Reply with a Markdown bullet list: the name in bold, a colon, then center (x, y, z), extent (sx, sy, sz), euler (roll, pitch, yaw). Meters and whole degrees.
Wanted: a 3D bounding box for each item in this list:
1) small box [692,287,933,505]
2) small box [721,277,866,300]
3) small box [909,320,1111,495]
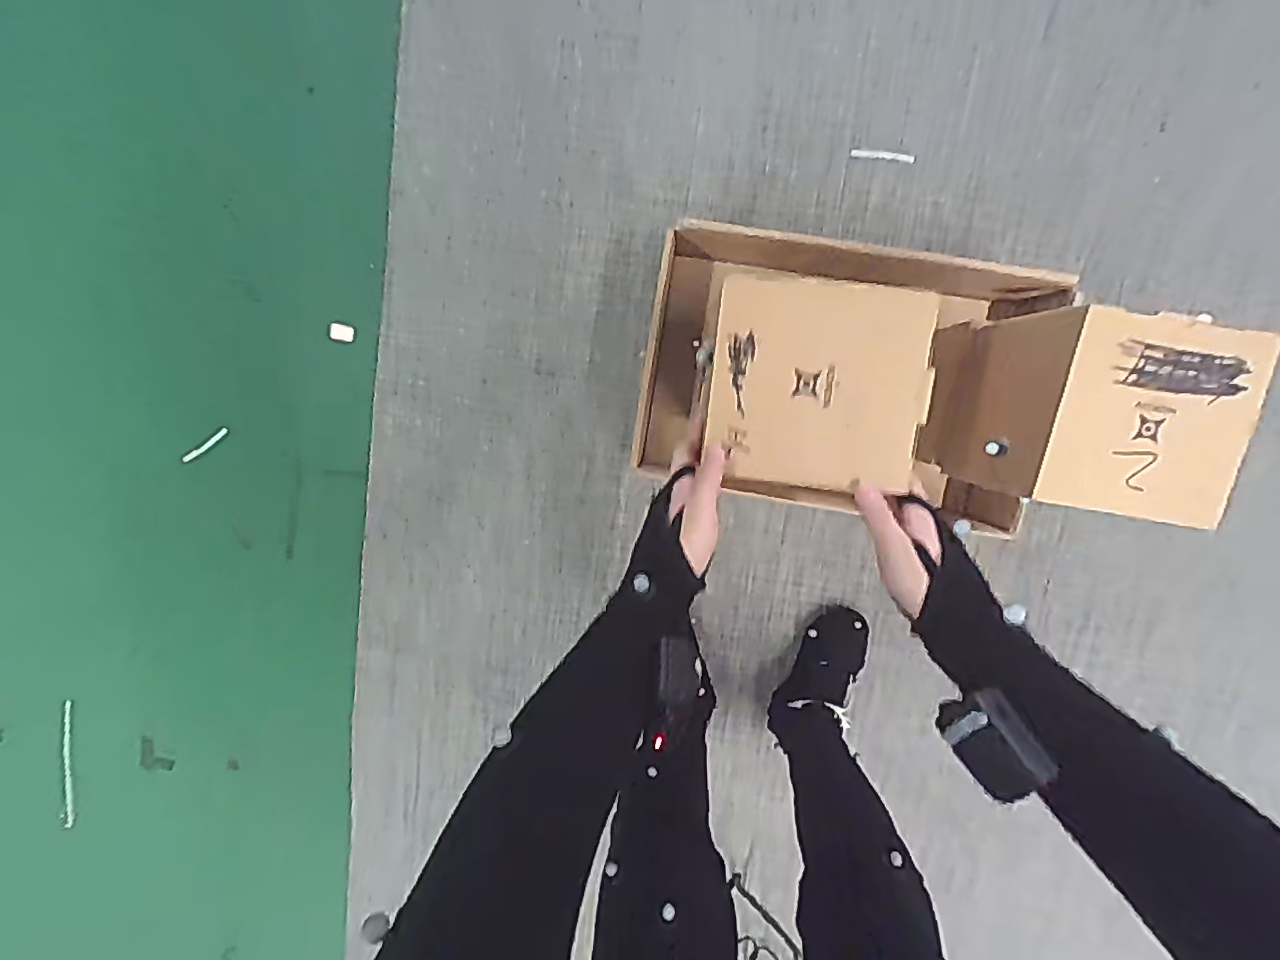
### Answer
- **small box**: center (0.147, -0.077, 0.524), extent (0.179, 0.176, 0.168), euler (6, 96, 4)
- **small box**: center (0.178, -0.155, 0.720), extent (0.168, 0.176, 0.179), euler (6, 98, 2)
- **small box**: center (0.444, -0.094, 0.708), extent (0.168, 0.176, 0.179), euler (13, 98, 2)
